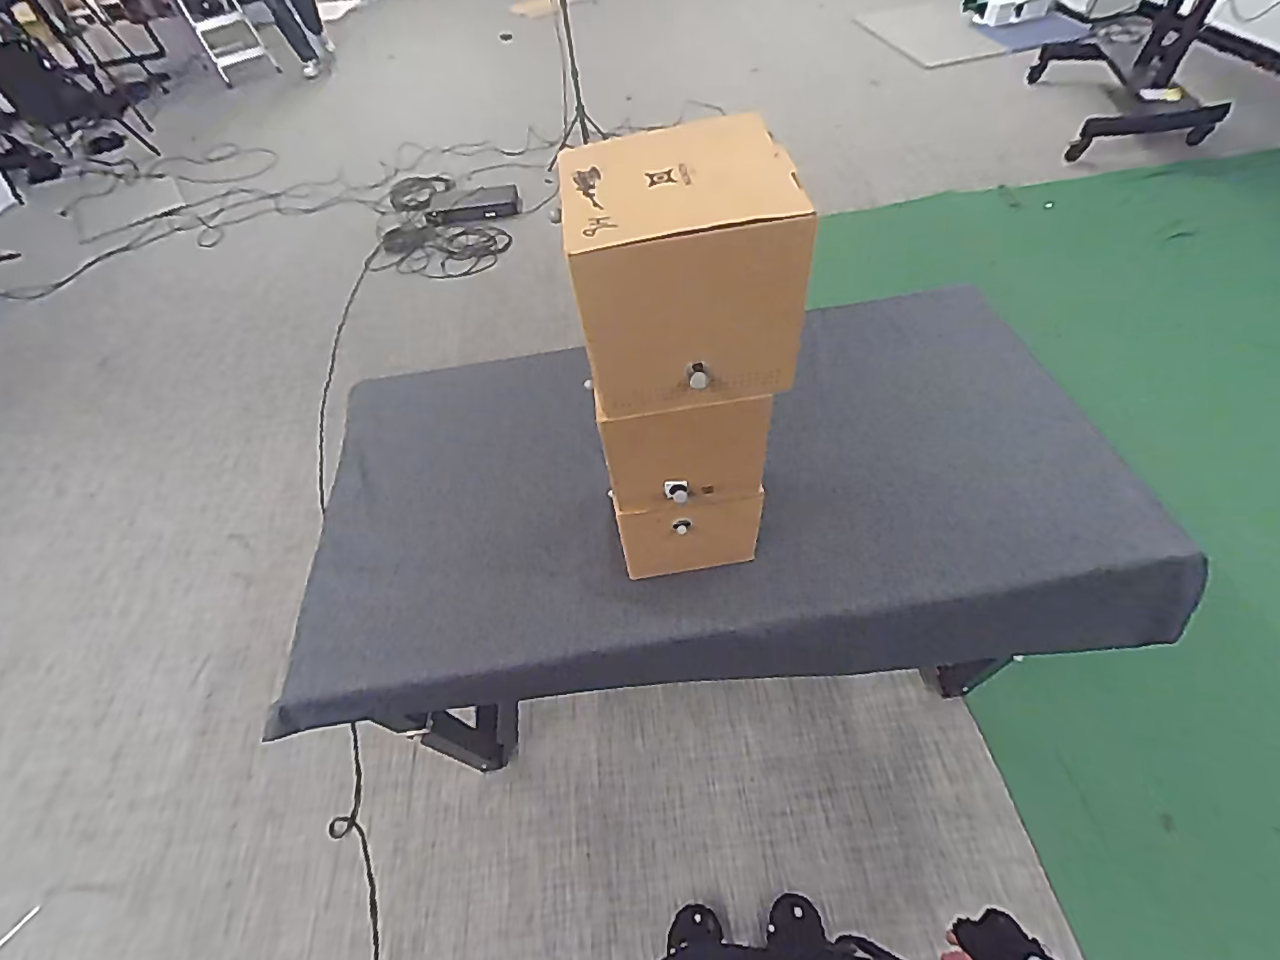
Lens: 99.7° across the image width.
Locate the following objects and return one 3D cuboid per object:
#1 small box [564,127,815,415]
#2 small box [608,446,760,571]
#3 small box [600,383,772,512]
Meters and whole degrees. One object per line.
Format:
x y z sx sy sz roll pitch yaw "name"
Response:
0.035 -0.180 0.486 0.179 0.176 0.168 -9 53 1 "small box"
0.056 0.011 0.748 0.179 0.176 0.168 -9 53 -1 "small box"
0.043 -0.087 0.620 0.168 0.176 0.179 -9 55 1 "small box"
